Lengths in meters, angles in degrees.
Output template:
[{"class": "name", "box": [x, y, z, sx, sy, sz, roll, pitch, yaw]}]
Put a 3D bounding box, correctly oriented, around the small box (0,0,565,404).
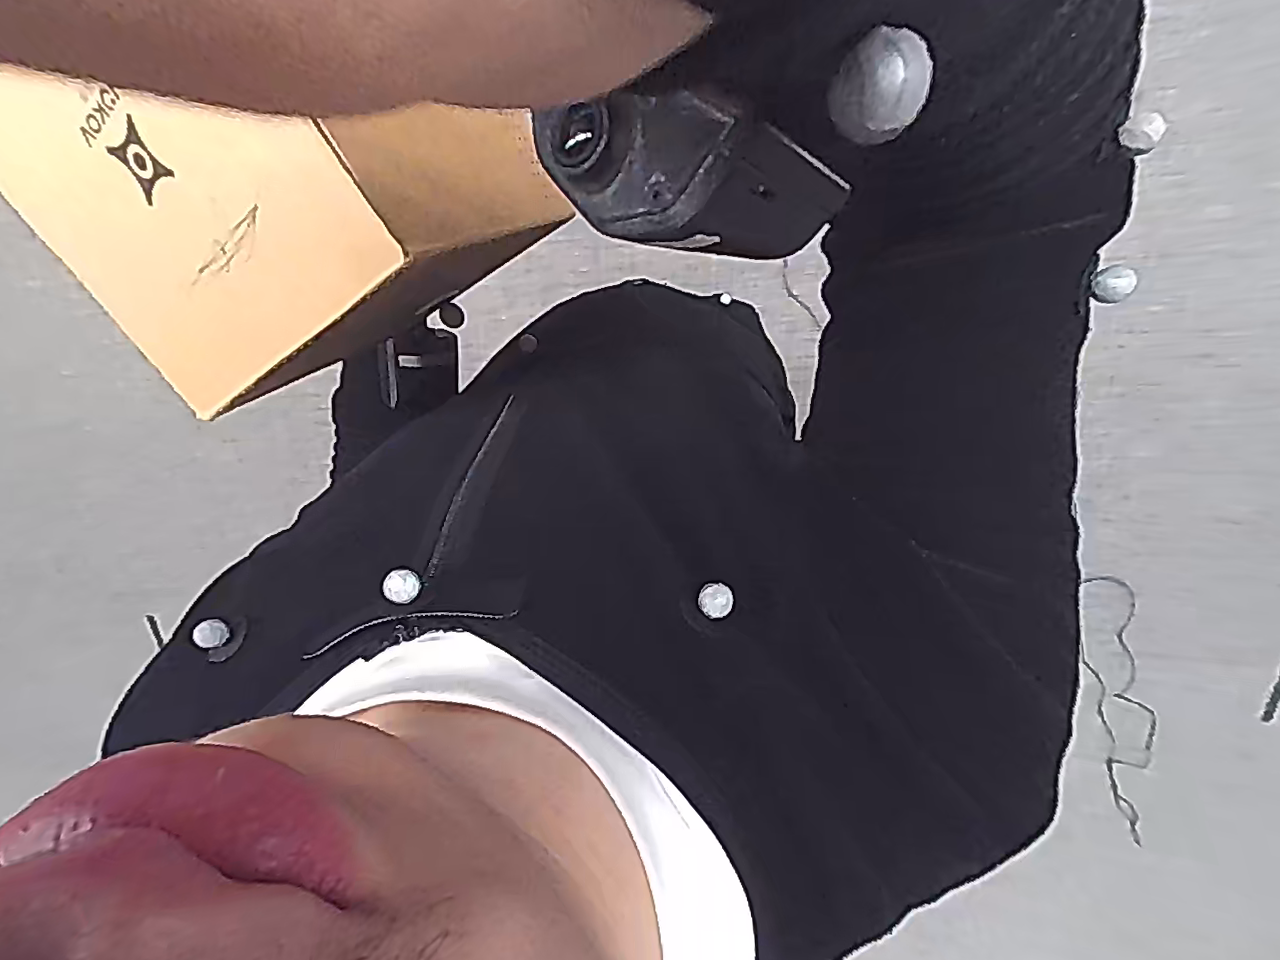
[{"class": "small box", "box": [-0.170, -0.171, 0.282, 0.168, 0.176, 0.179, -19, 113, 27]}]
